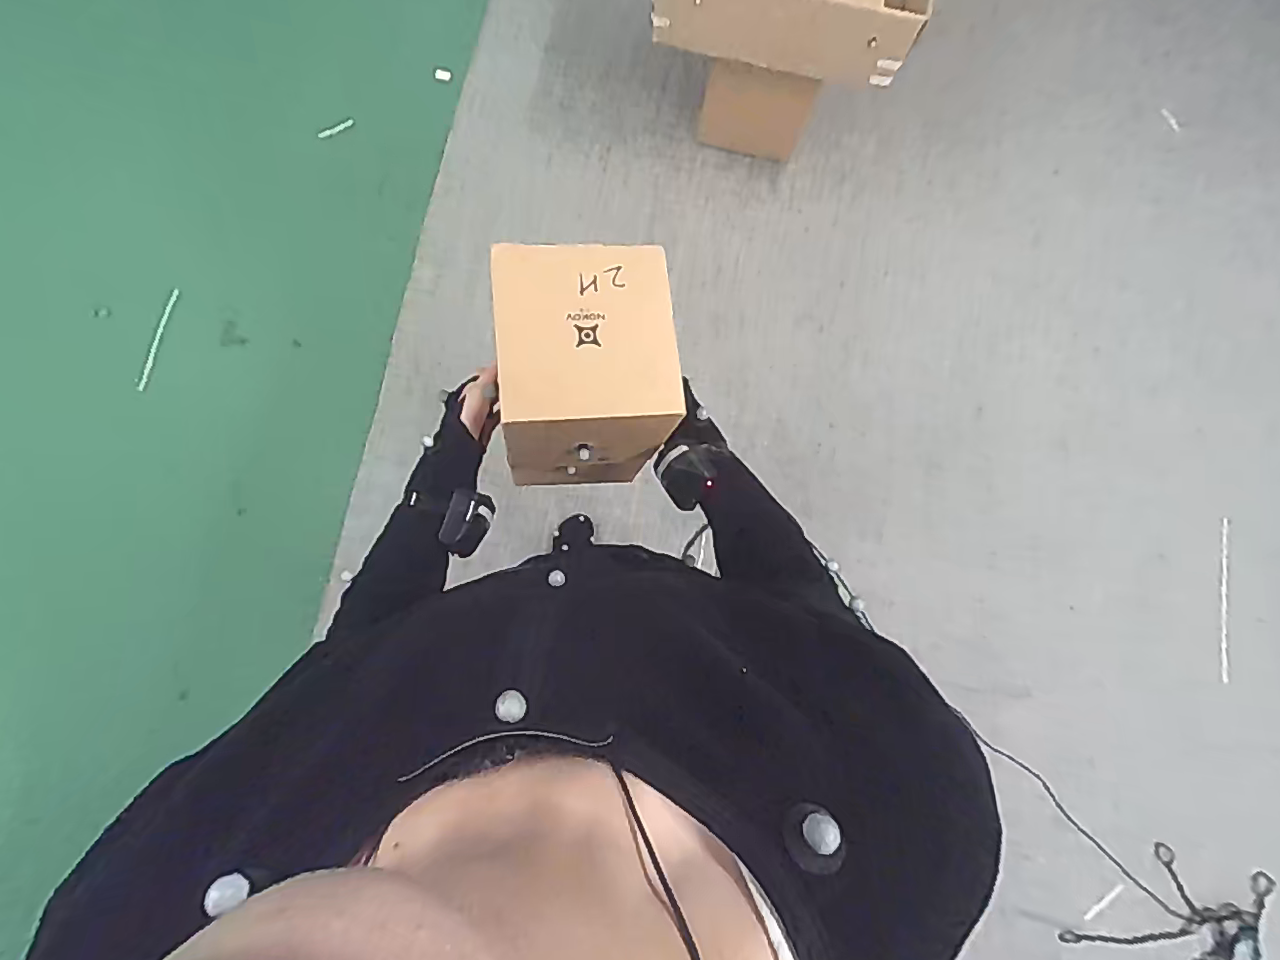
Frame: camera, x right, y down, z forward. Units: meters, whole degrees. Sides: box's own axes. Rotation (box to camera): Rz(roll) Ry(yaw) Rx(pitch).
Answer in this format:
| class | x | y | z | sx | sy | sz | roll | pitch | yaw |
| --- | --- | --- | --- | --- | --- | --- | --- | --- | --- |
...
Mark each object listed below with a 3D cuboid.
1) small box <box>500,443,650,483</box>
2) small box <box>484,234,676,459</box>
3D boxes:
| class | x | y | z | sx | sy | sz | roll | pitch | yaw |
| --- | --- | --- | --- | --- | --- | --- | --- | --- | --- |
| small box | -0.091 | -0.093 | 0.718 | 0.179 | 0.176 | 0.168 | -1 | 77 | -11 |
| small box | -0.066 | -0.122 | 0.557 | 0.168 | 0.176 | 0.179 | -3 | 77 | -11 |
